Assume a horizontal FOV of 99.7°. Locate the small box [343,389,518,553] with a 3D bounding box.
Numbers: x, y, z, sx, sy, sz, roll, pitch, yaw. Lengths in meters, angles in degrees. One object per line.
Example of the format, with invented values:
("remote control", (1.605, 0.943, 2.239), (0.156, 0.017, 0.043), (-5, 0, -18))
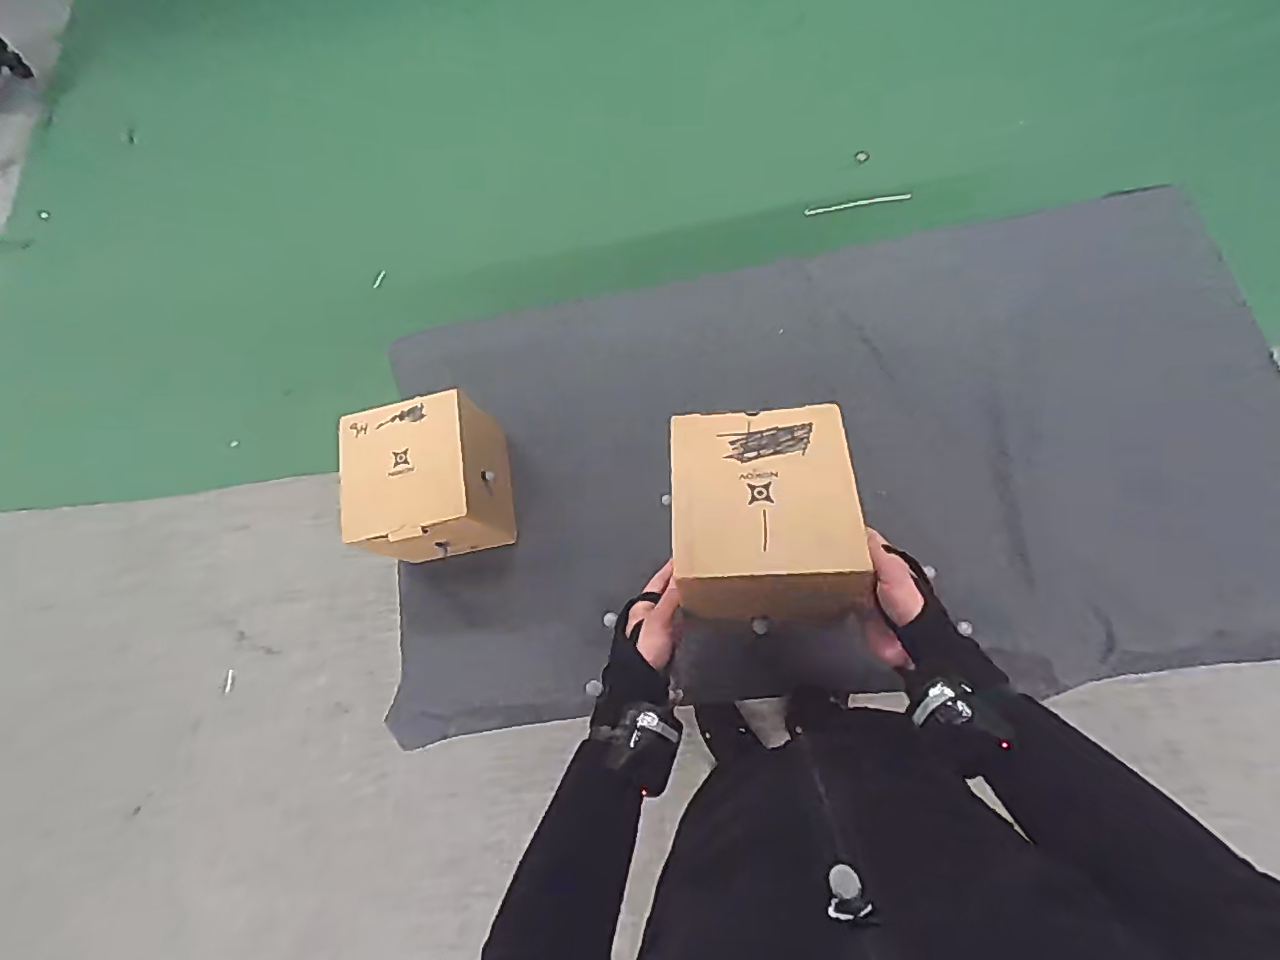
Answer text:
("small box", (-0.281, 0.001, 0.752), (0.168, 0.176, 0.179), (-12, 73, 6))
